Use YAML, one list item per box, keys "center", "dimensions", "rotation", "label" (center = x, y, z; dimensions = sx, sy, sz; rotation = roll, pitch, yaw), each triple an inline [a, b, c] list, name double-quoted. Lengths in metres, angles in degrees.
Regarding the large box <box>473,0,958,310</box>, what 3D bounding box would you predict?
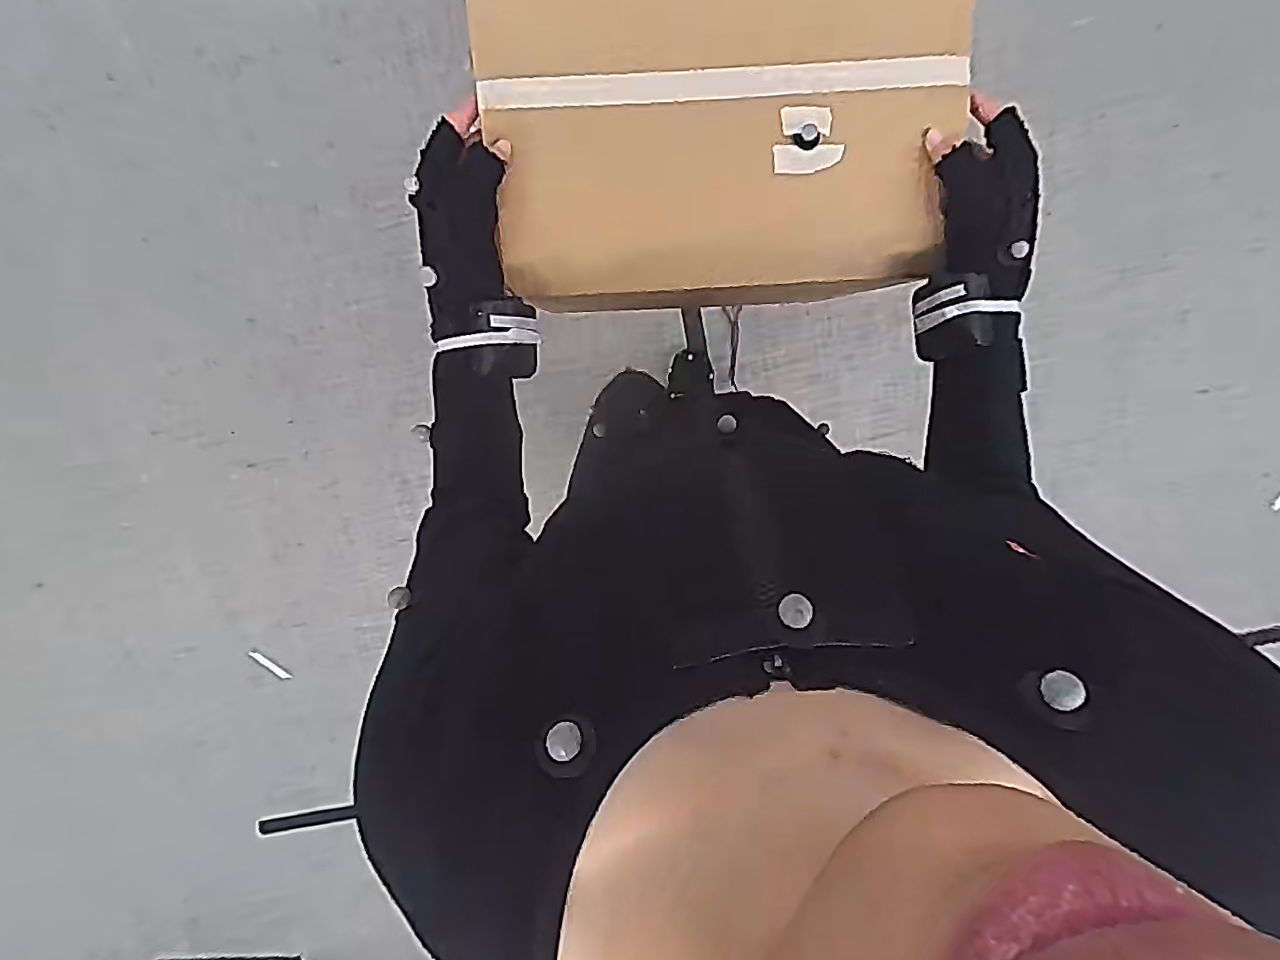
- center: [0.061, -0.372, 0.601]
  dimensions: [0.408, 0.320, 0.320]
  rotation: [-3, 105, -1]
  label: "large box"
